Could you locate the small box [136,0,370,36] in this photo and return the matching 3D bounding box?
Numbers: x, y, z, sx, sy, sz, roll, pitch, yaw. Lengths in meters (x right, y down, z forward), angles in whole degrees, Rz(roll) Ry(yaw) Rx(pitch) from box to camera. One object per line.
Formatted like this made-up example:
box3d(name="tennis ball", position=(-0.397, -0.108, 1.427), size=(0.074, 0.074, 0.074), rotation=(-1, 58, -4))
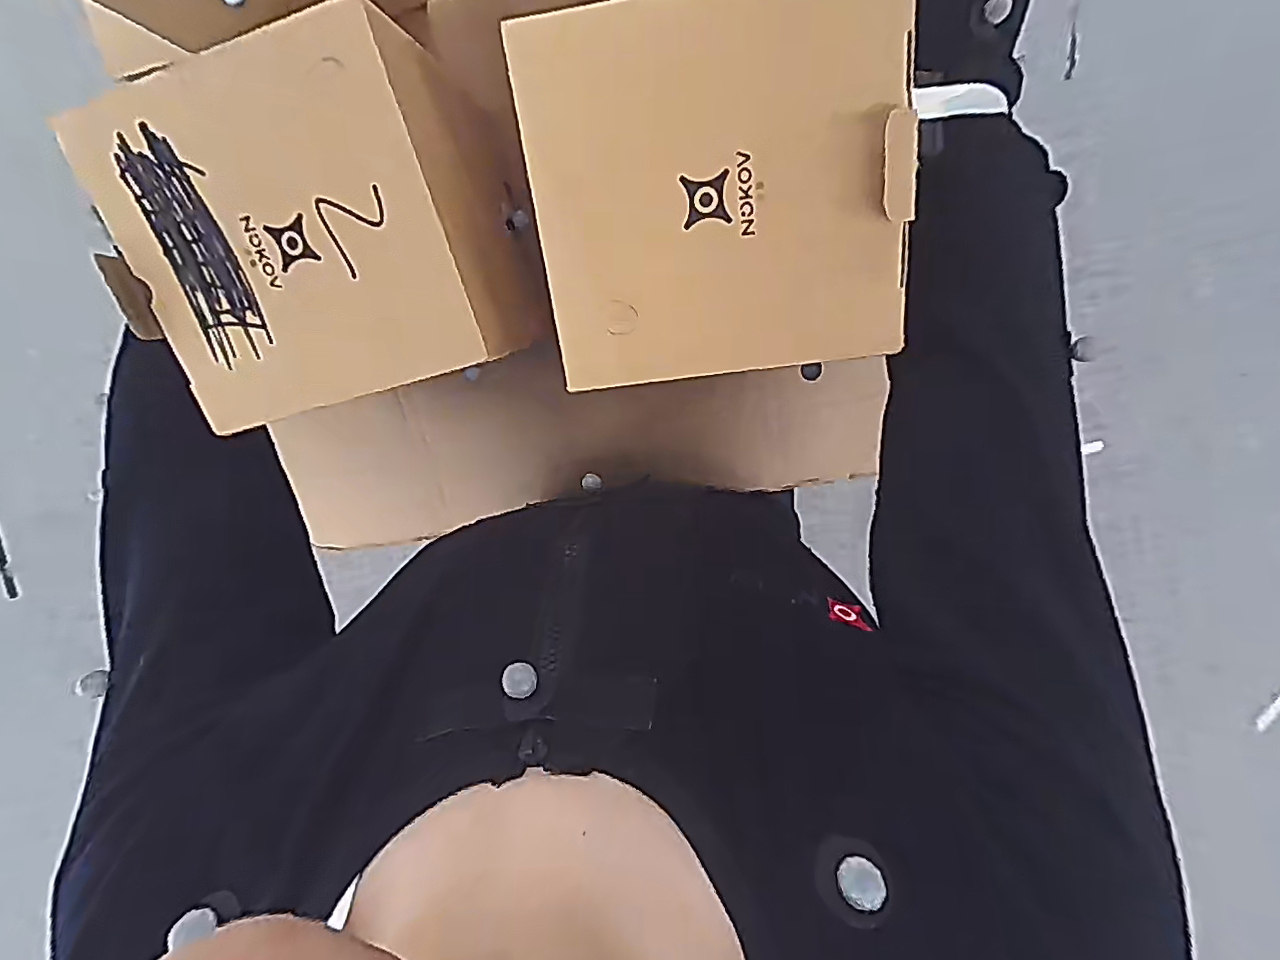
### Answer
box3d(name="small box", position=(-0.255, -0.381, 0.287), size=(0.168, 0.176, 0.179), rotation=(-10, 105, 8))
